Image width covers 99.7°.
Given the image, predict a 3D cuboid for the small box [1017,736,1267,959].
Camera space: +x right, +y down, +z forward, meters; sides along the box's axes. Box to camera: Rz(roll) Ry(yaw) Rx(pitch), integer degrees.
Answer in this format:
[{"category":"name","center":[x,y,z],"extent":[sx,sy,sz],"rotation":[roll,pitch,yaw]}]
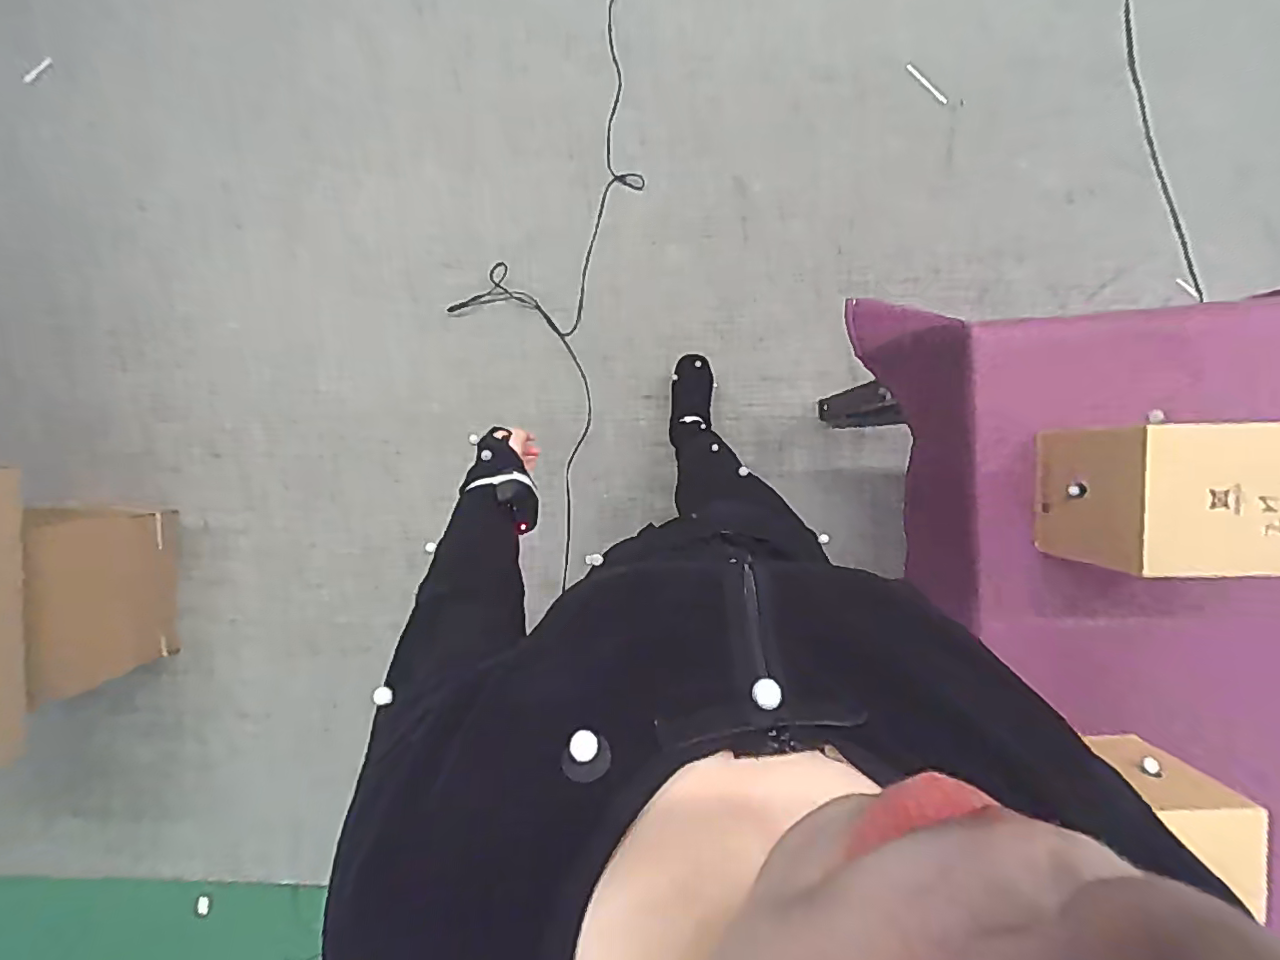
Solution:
[{"category":"small box","center":[0.610,0.443,0.680],"extent":[0.168,0.176,0.179],"rotation":[-2,93,1]}]

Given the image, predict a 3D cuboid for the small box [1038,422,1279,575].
[{"category":"small box","center":[0.626,0.017,0.655],"extent":[0.179,0.176,0.168],"rotation":[0,94,1]}]
